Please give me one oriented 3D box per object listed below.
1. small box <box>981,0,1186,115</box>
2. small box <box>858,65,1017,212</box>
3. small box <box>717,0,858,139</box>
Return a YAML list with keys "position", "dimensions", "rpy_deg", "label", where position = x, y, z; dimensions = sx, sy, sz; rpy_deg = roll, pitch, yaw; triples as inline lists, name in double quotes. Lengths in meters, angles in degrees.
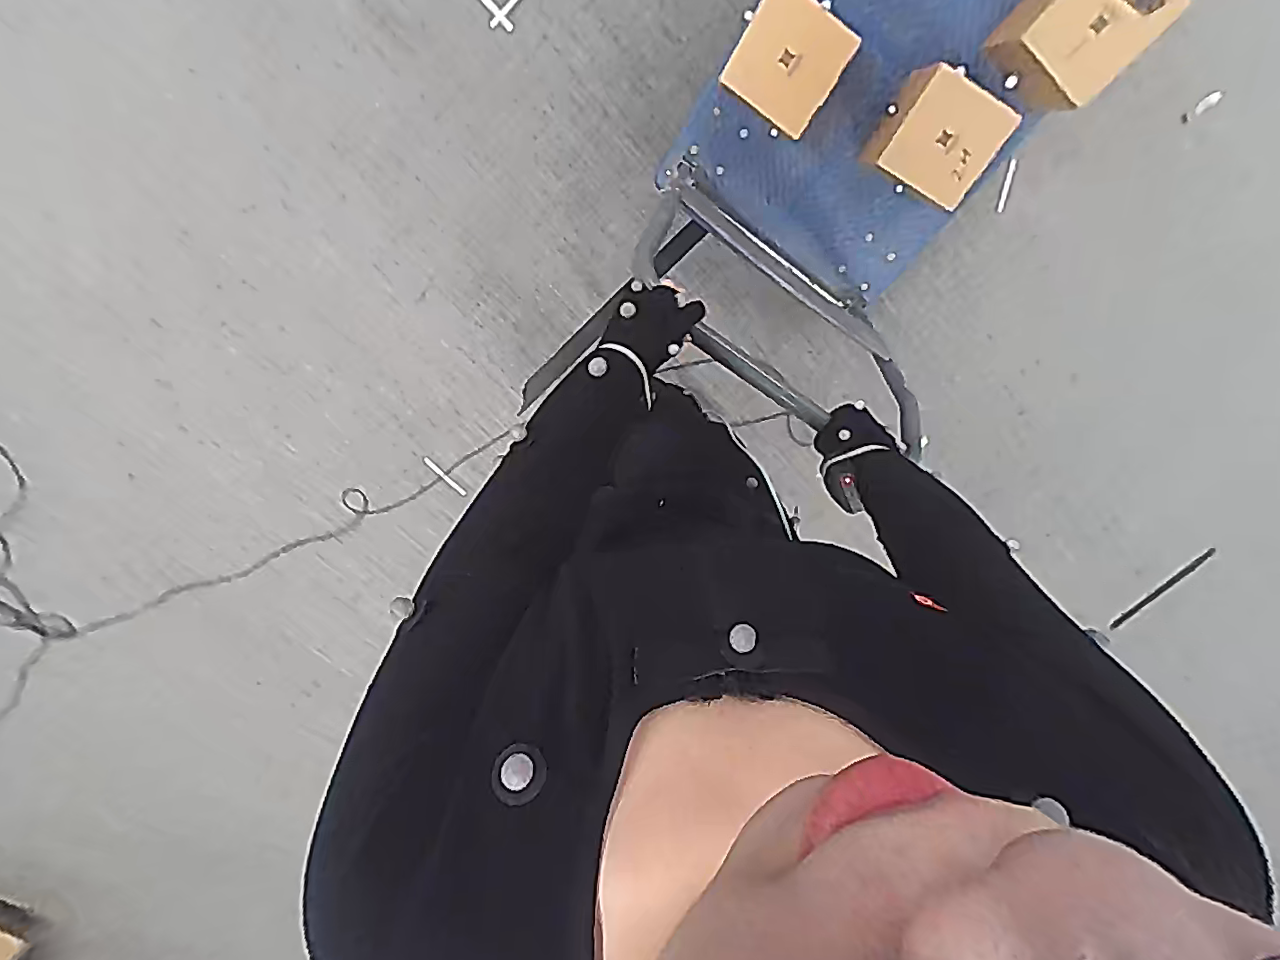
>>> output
- position: [0.727, -0.756, 0.909]
  dimensions: [0.168, 0.176, 0.179]
  rpy_deg: [35, 122, -15]
  label: "small box"
- position: [0.541, -0.633, 1.015]
  dimensions: [0.179, 0.176, 0.168]
  rpy_deg: [26, 123, -10]
  label: "small box"
- position: [0.253, -0.749, 0.977]
  dimensions: [0.179, 0.176, 0.168]
  rpy_deg: [29, 122, -13]
  label: "small box"
